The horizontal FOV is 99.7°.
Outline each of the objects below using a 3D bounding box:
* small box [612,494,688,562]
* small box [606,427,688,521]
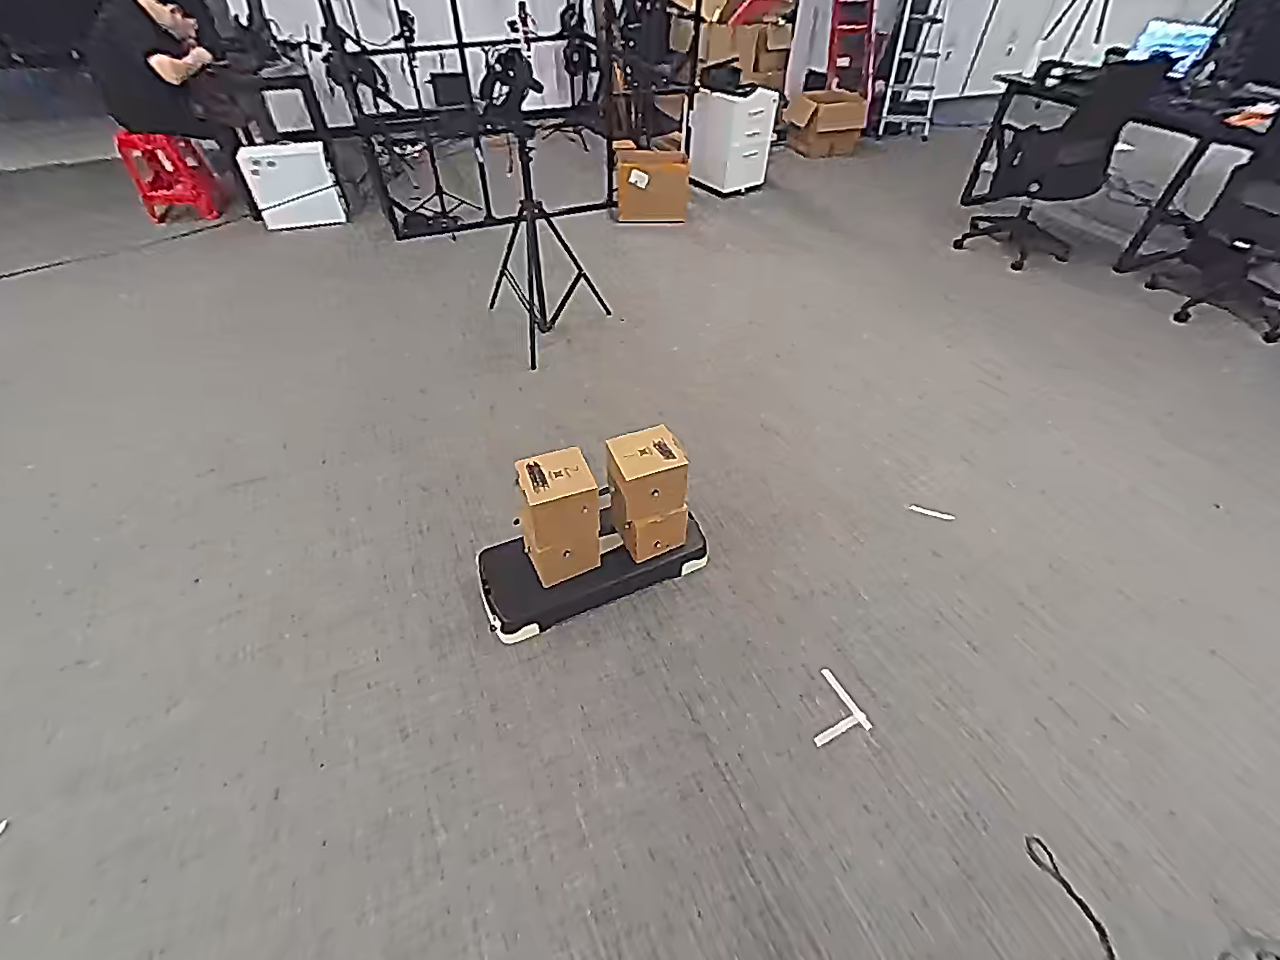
[{"bbox_3d":[0.021,0.107,1.591,0.168,0.176,0.179,-20,50,-20],"label":"small box"},{"bbox_3d":[0.015,-0.015,1.481,0.179,0.176,0.168,-16,49,-15],"label":"small box"}]
